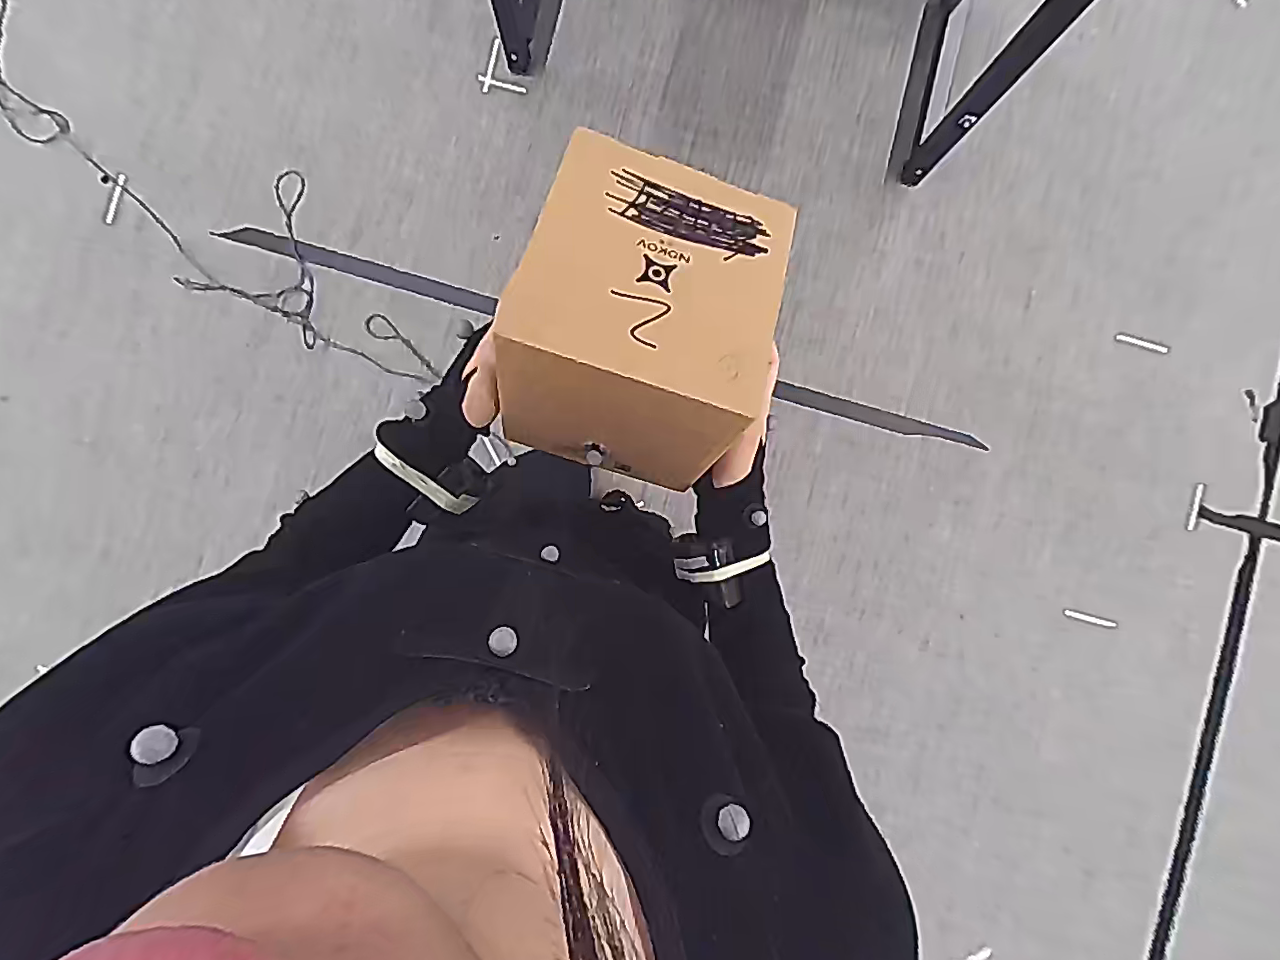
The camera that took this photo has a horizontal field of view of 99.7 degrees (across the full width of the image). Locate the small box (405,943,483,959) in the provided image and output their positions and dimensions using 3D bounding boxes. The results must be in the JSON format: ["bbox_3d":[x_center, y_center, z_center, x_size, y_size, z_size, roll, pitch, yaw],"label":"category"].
[{"bbox_3d":[-0.471,1.185,1.201,0.179,0.176,0.168,12,90,-2],"label":"small box"}]
